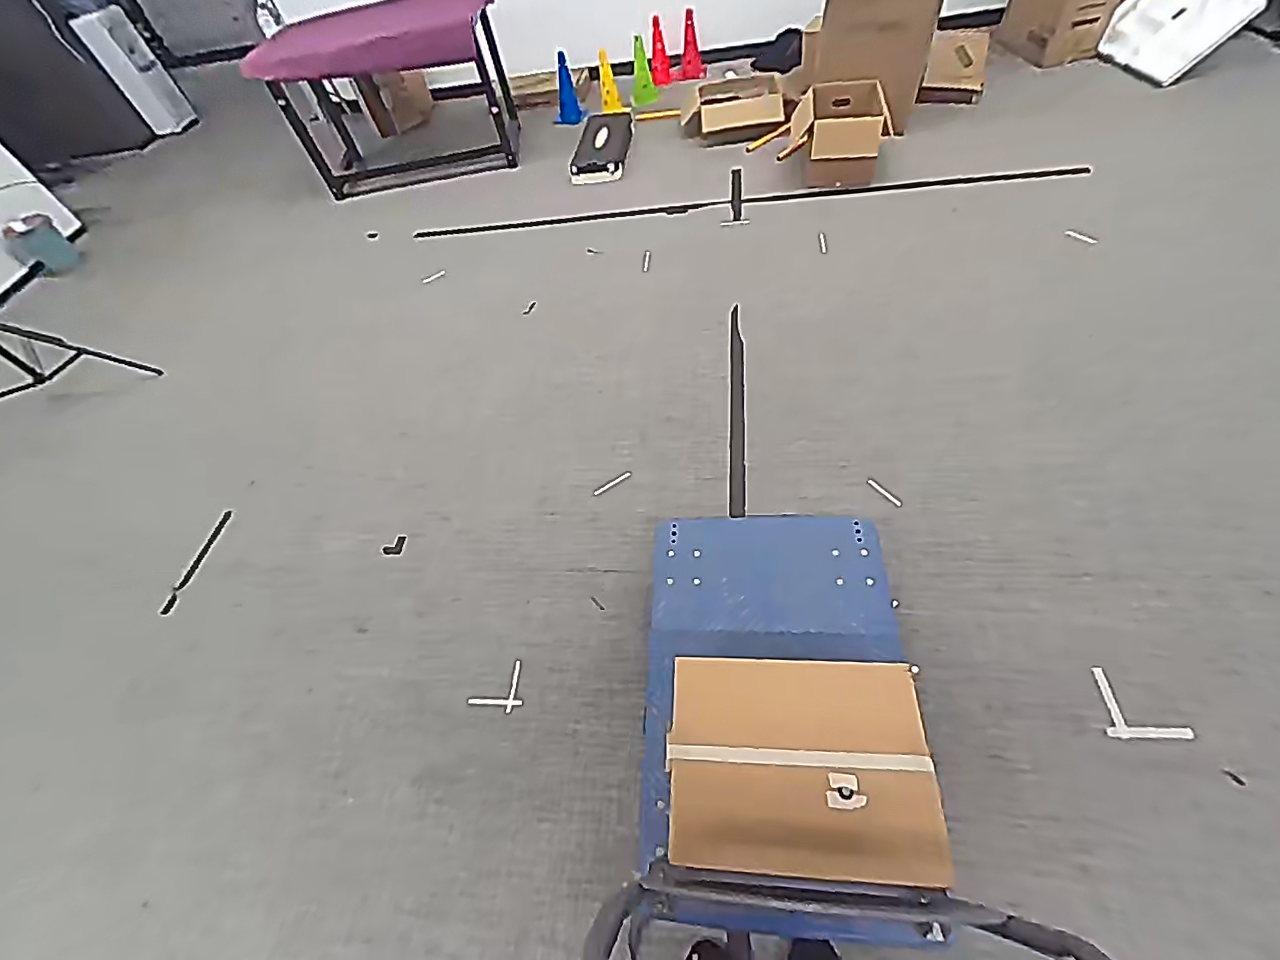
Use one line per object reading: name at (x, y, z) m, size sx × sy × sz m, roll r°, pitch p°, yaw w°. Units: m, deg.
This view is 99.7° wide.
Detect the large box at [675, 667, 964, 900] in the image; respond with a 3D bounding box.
large box at (0.271, 0.538, 0.963) m, size 0.408 × 0.320 × 0.320 m, roll -1°, pitch 55°, yaw 8°
